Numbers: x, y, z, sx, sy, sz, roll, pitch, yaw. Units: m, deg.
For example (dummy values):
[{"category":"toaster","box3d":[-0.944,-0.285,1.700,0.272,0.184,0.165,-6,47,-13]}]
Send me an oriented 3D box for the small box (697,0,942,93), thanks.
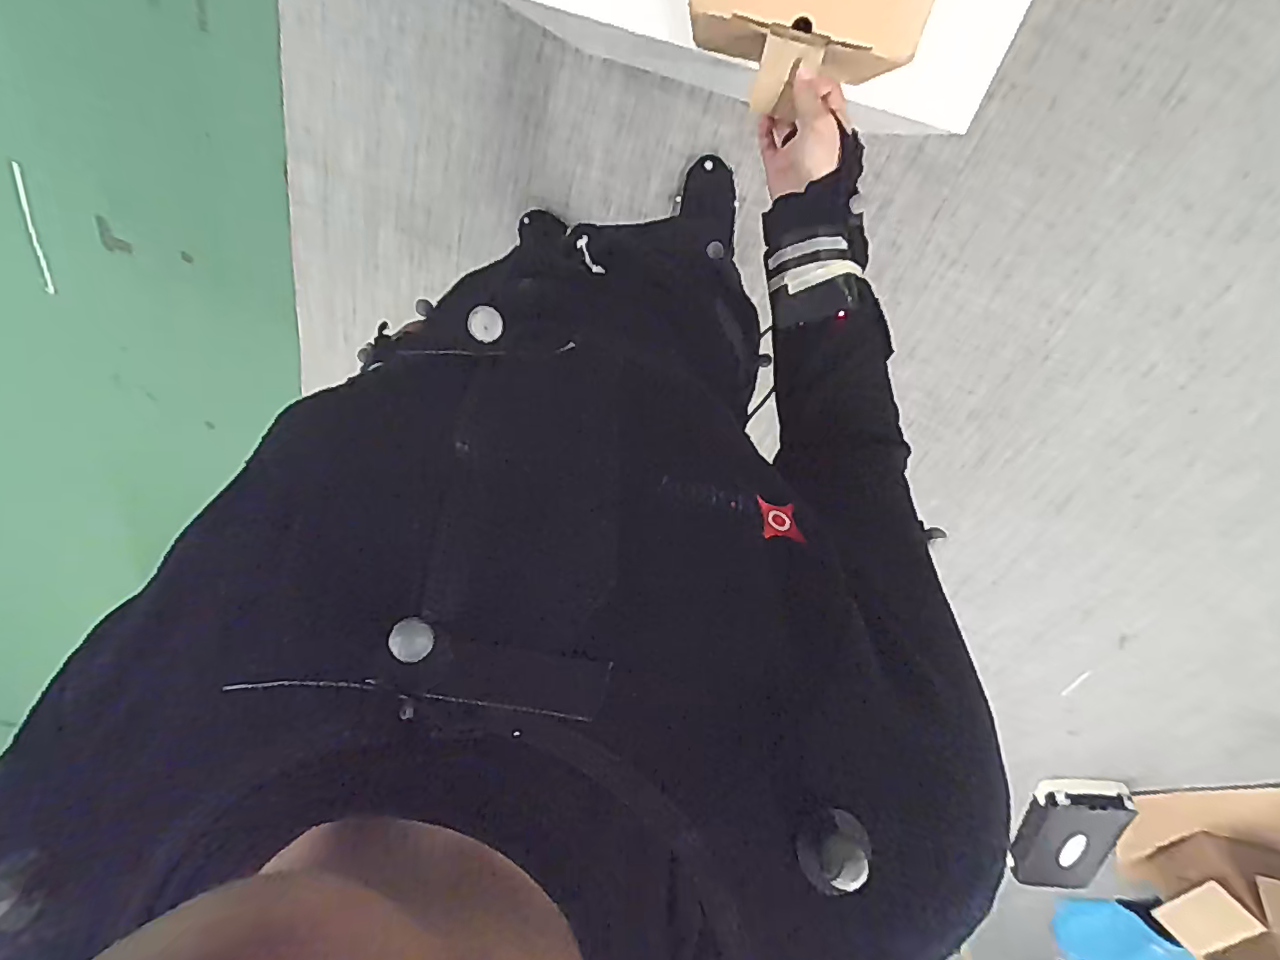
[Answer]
[{"category":"small box","box3d":[0.143,-0.422,0.411,0.168,0.176,0.179,13,122,-1]}]
